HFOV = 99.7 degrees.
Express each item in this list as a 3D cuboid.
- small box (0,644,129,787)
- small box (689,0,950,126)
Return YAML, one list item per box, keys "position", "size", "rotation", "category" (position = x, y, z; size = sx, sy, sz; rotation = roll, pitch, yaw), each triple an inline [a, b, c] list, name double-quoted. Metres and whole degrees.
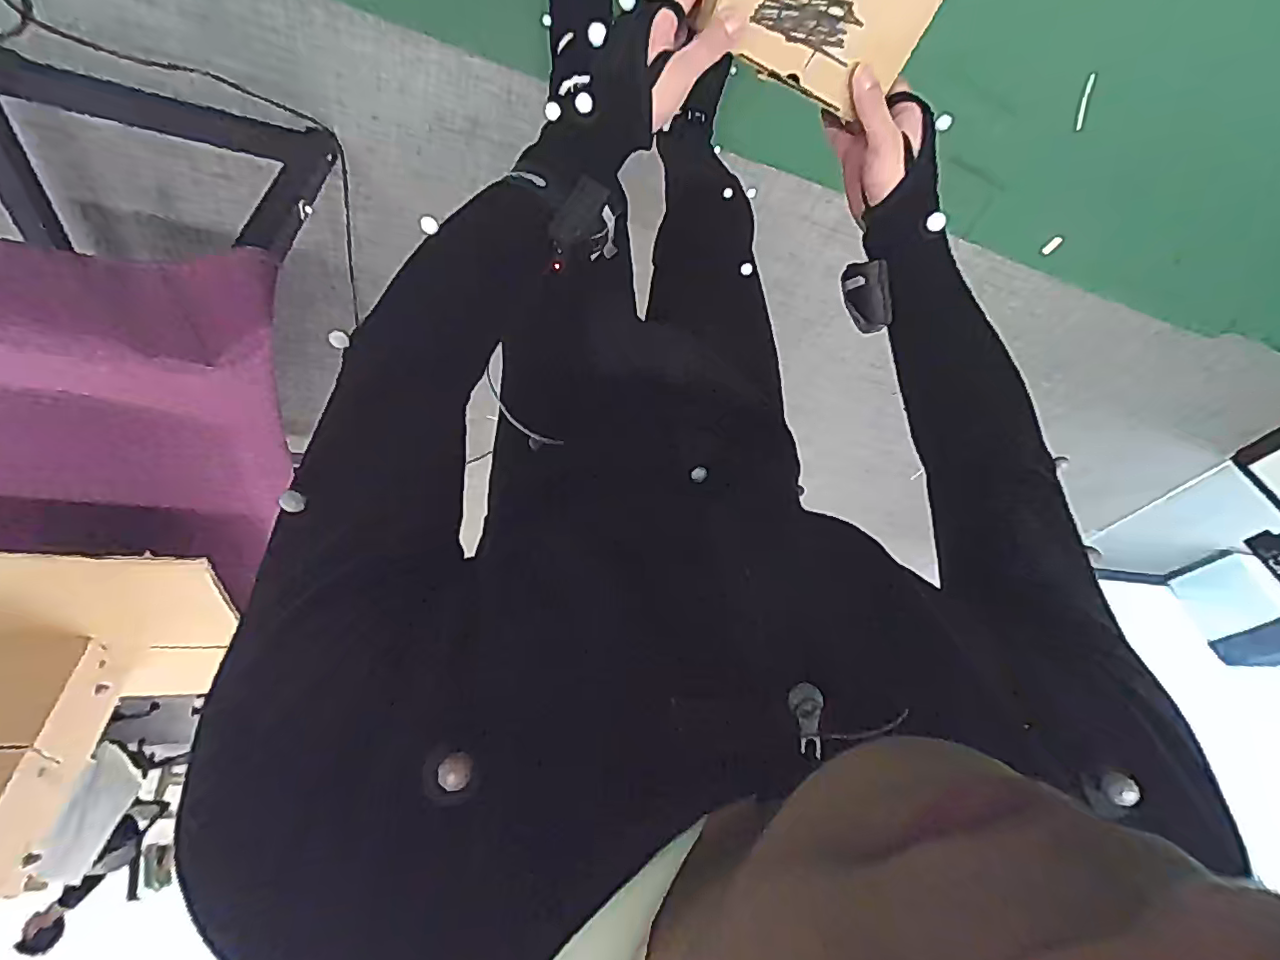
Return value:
- position: [-0.975, 0.369, 0.852]
  size: [0.179, 0.176, 0.168]
  rotation: [6, 139, -18]
  category: "small box"
- position: [0.152, -0.440, 0.446]
  size: [0.168, 0.176, 0.179]
  rotation: [11, 133, -22]
  category: "small box"
